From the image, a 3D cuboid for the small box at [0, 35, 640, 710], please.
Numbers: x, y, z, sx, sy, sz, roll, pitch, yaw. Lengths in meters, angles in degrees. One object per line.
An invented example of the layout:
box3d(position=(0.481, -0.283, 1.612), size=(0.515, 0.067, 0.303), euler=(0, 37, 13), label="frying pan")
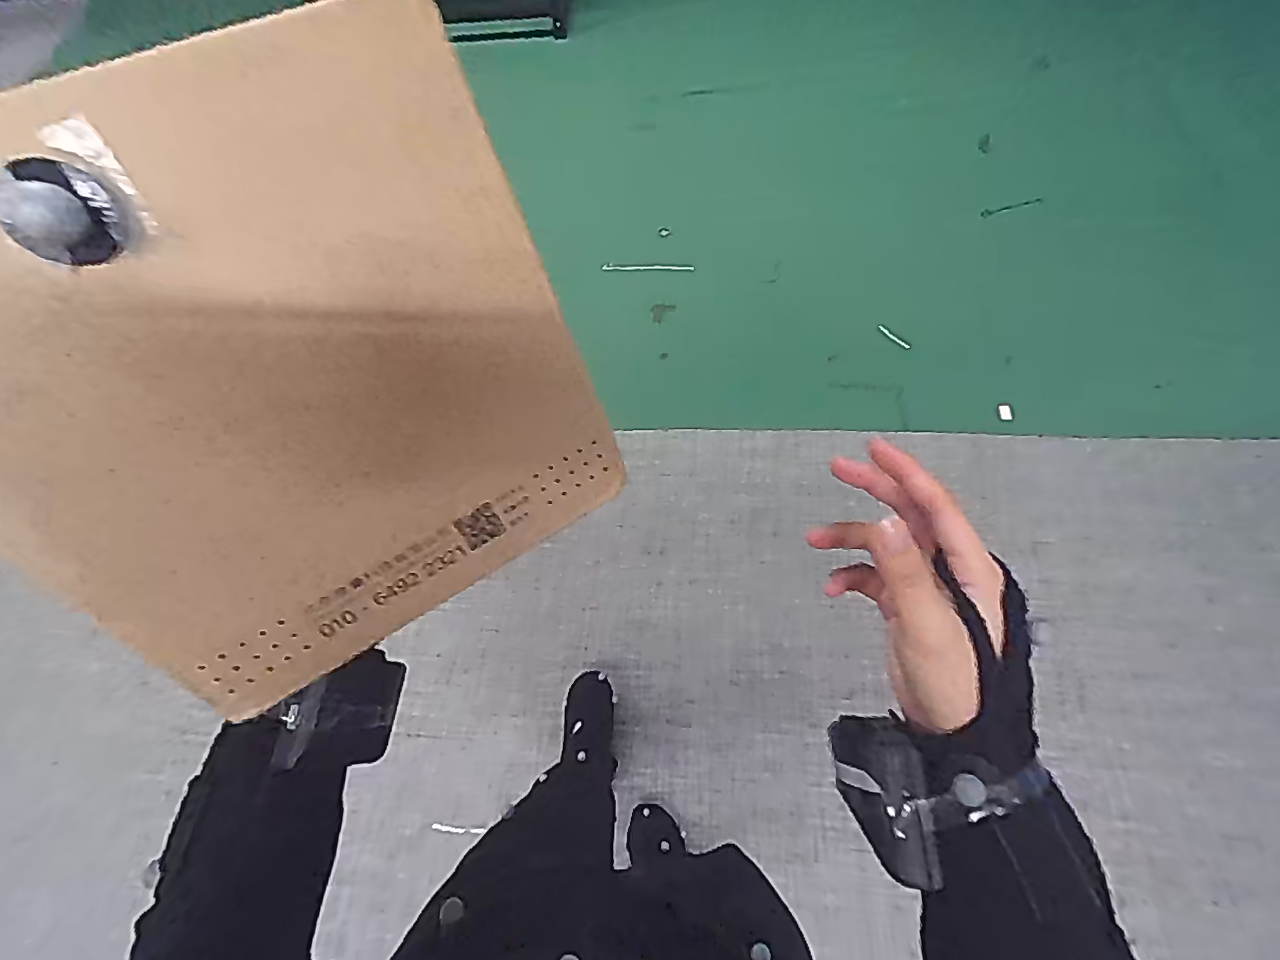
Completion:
box3d(position=(-0.126, -0.044, 0.236), size=(0.168, 0.176, 0.179), euler=(-33, 34, -14), label="small box")
